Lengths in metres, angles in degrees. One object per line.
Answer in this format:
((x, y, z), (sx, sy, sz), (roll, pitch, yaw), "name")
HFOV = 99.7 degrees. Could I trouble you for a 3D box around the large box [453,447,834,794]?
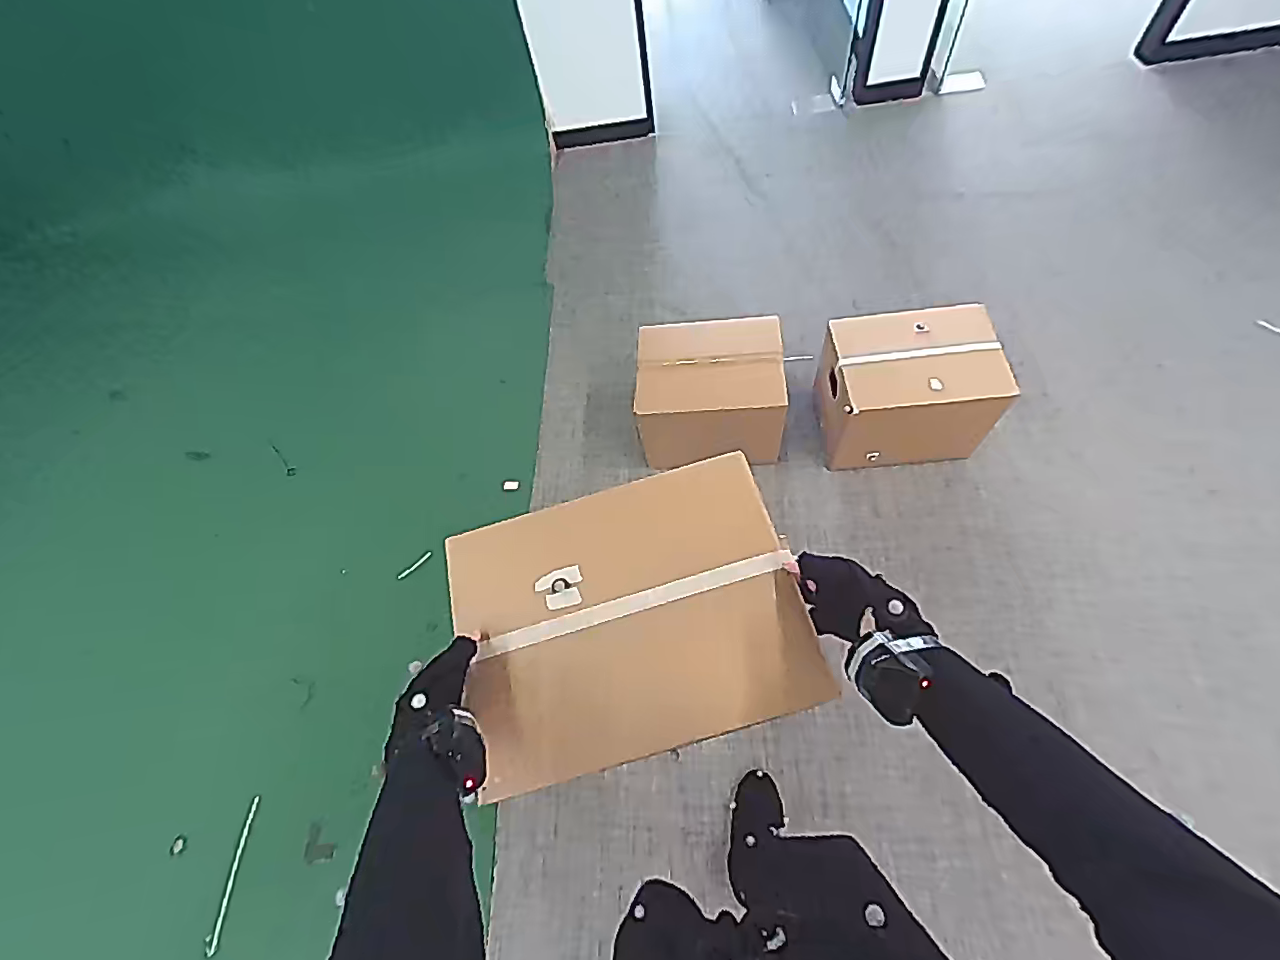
((0.004, 0.204, 0.777), (0.408, 0.320, 0.320), (-17, 65, 2), "large box")
